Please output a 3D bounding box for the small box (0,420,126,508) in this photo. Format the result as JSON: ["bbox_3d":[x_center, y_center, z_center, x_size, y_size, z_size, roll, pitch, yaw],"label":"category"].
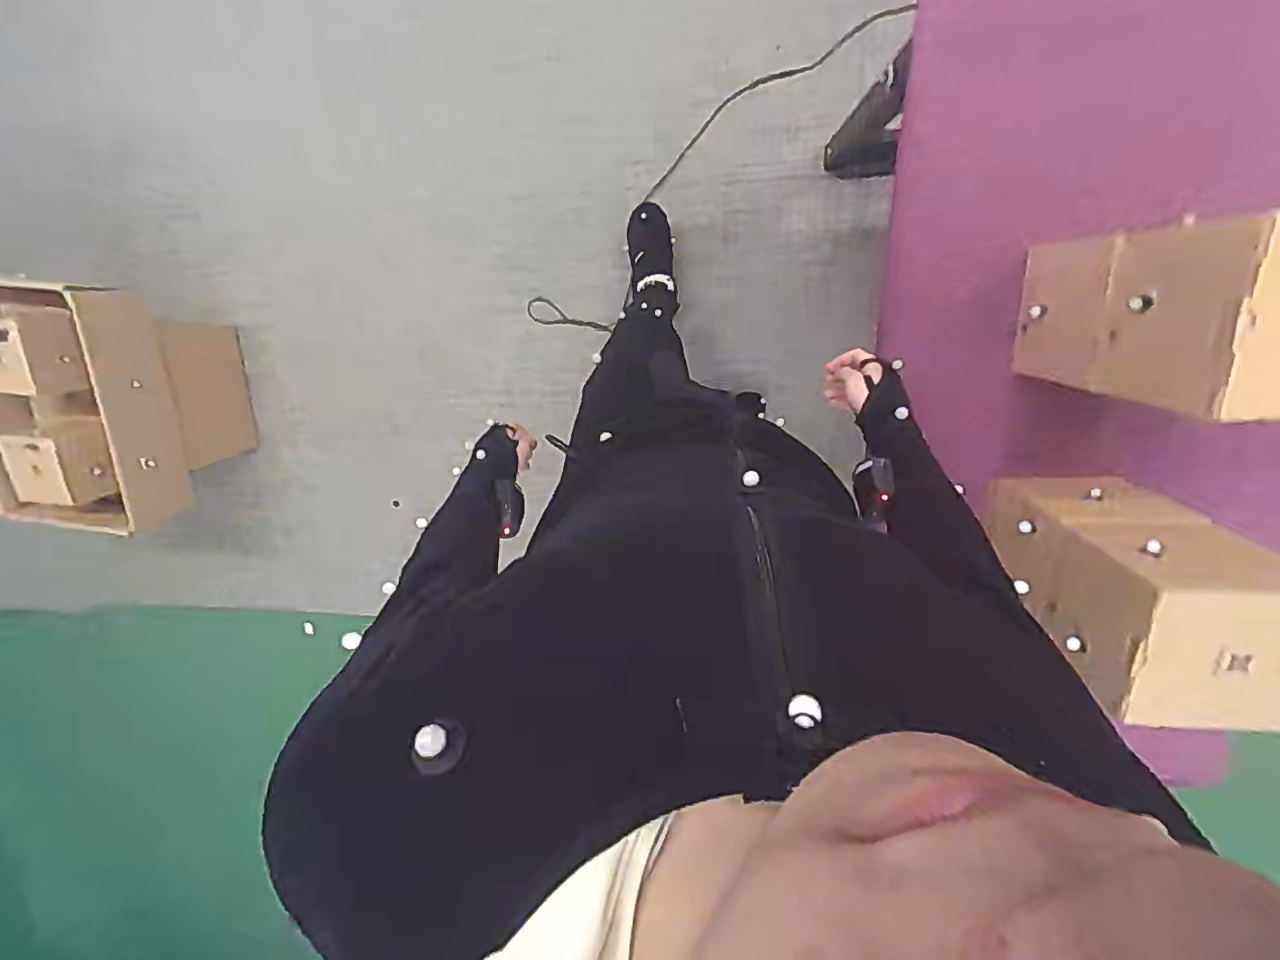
[{"bbox_3d":[-1.484,-0.044,1.387,0.168,0.176,0.179,5,110,6],"label":"small box"}]

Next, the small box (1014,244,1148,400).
[{"bbox_3d":[0.600,-0.194,0.655,0.179,0.176,0.168,-1,108,8],"label":"small box"}]

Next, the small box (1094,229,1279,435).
[{"bbox_3d":[0.584,-0.143,0.501,0.179,0.176,0.168,-2,109,8],"label":"small box"}]
